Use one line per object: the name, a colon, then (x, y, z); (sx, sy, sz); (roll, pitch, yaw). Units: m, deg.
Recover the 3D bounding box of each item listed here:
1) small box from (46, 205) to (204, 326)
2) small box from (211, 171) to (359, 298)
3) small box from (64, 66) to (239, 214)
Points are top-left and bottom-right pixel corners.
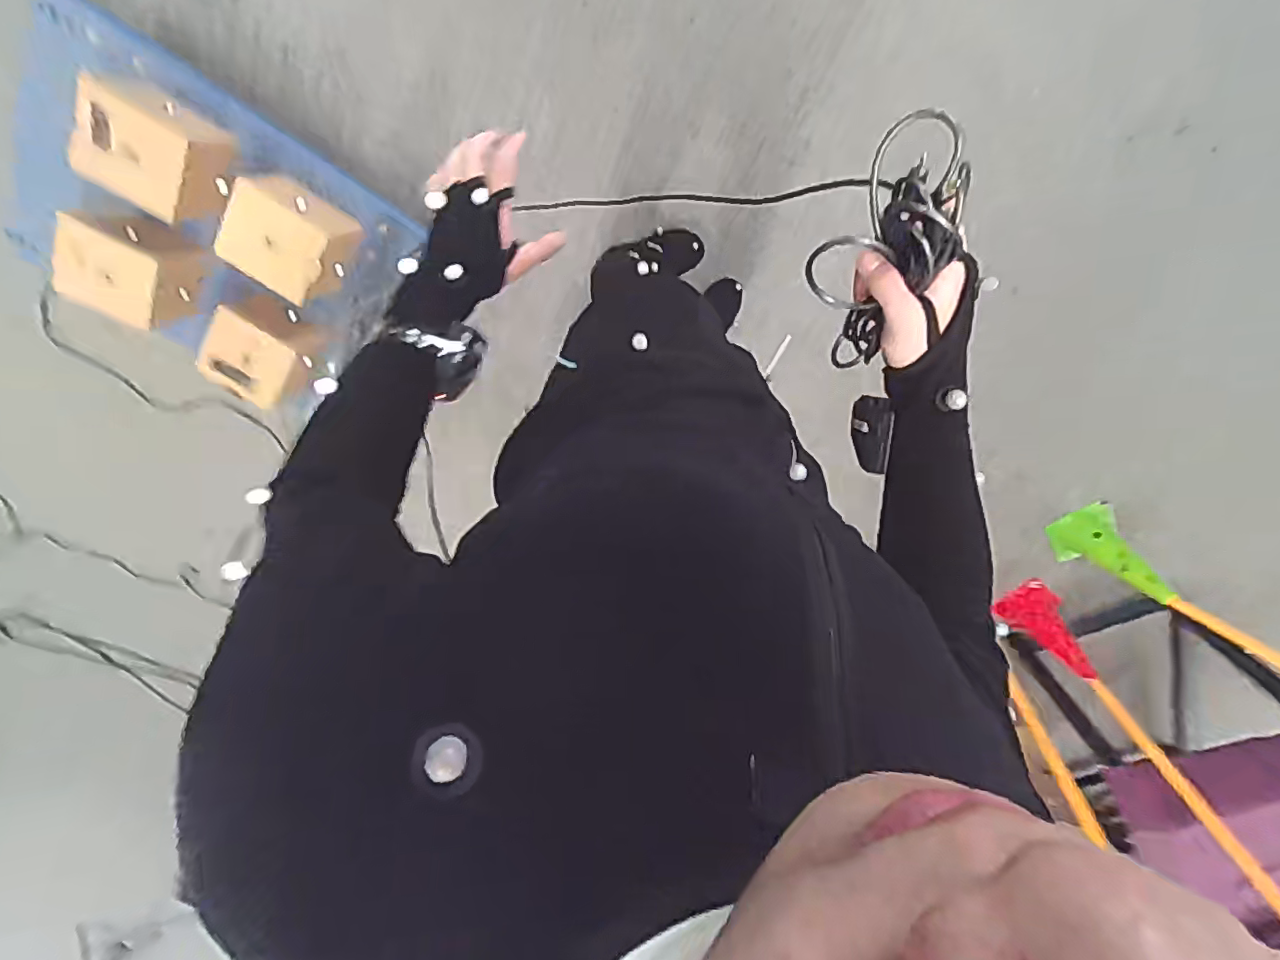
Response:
small box: (-1.079, -0.461, 1.147); (0.179, 0.176, 0.168); (29, 115, -17)
small box: (-0.732, -0.514, 1.130); (0.179, 0.176, 0.168); (32, 114, -21)
small box: (-0.932, -0.645, 1.043); (0.179, 0.176, 0.168); (30, 116, -19)
